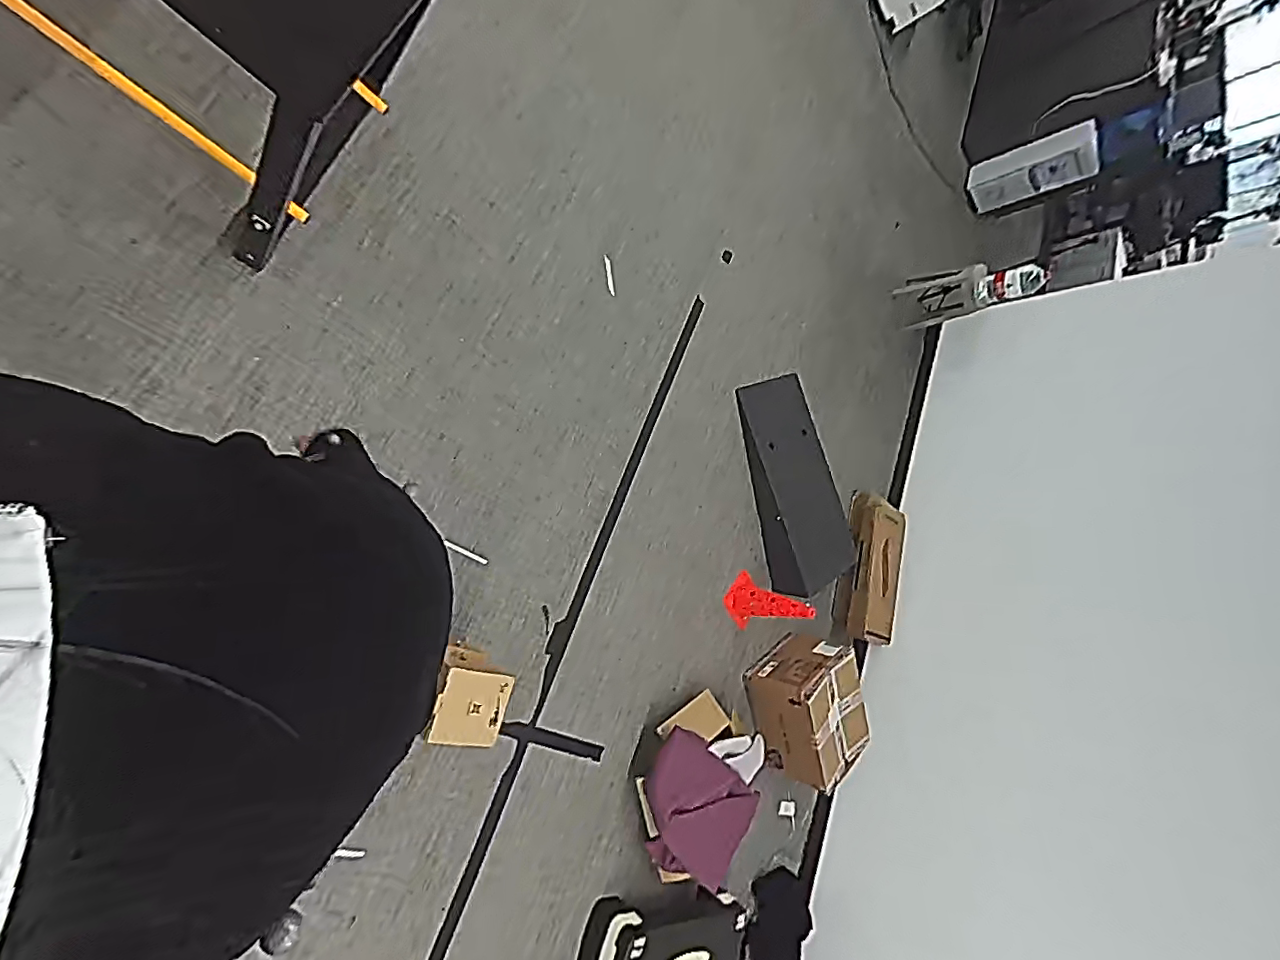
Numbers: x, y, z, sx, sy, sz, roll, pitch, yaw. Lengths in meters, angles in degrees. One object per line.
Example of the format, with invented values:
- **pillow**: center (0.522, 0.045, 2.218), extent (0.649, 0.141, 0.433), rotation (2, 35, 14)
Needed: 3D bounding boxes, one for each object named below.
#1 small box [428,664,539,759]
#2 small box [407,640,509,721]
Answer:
- **small box**: center (-0.379, 0.549, 1.295), extent (0.179, 0.176, 0.168), rotation (27, 72, -38)
- **small box**: center (-0.481, 0.533, 1.424), extent (0.179, 0.176, 0.168), rotation (28, 72, -37)
